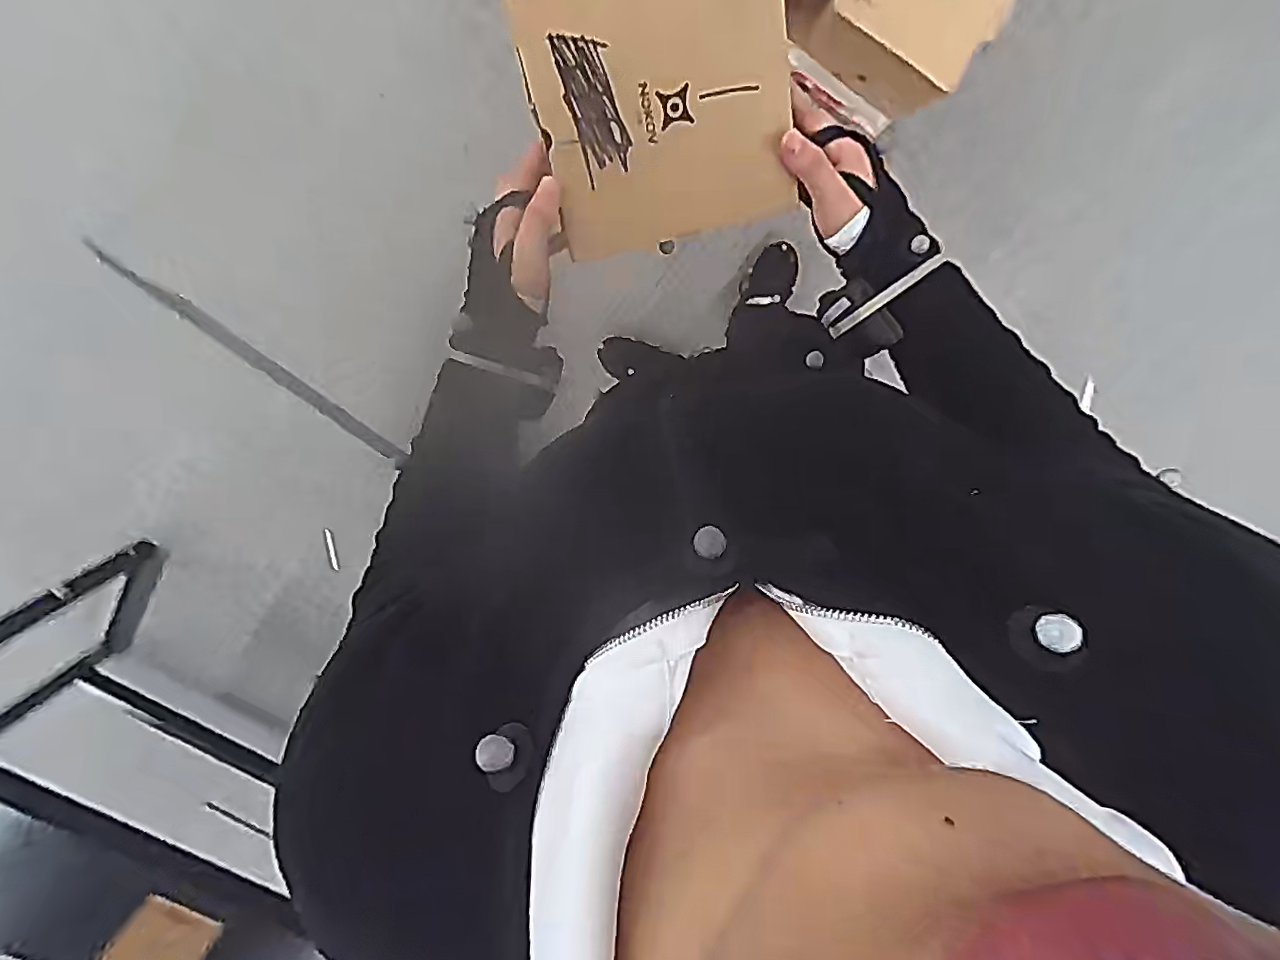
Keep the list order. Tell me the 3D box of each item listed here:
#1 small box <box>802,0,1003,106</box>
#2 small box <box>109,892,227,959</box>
[{"bbox_3d":[0.335,-0.609,0.684,0.179,0.176,0.168,28,115,-10],"label":"small box"},{"bbox_3d":[-1.064,1.059,1.190,0.168,0.176,0.179,35,111,-11],"label":"small box"}]
